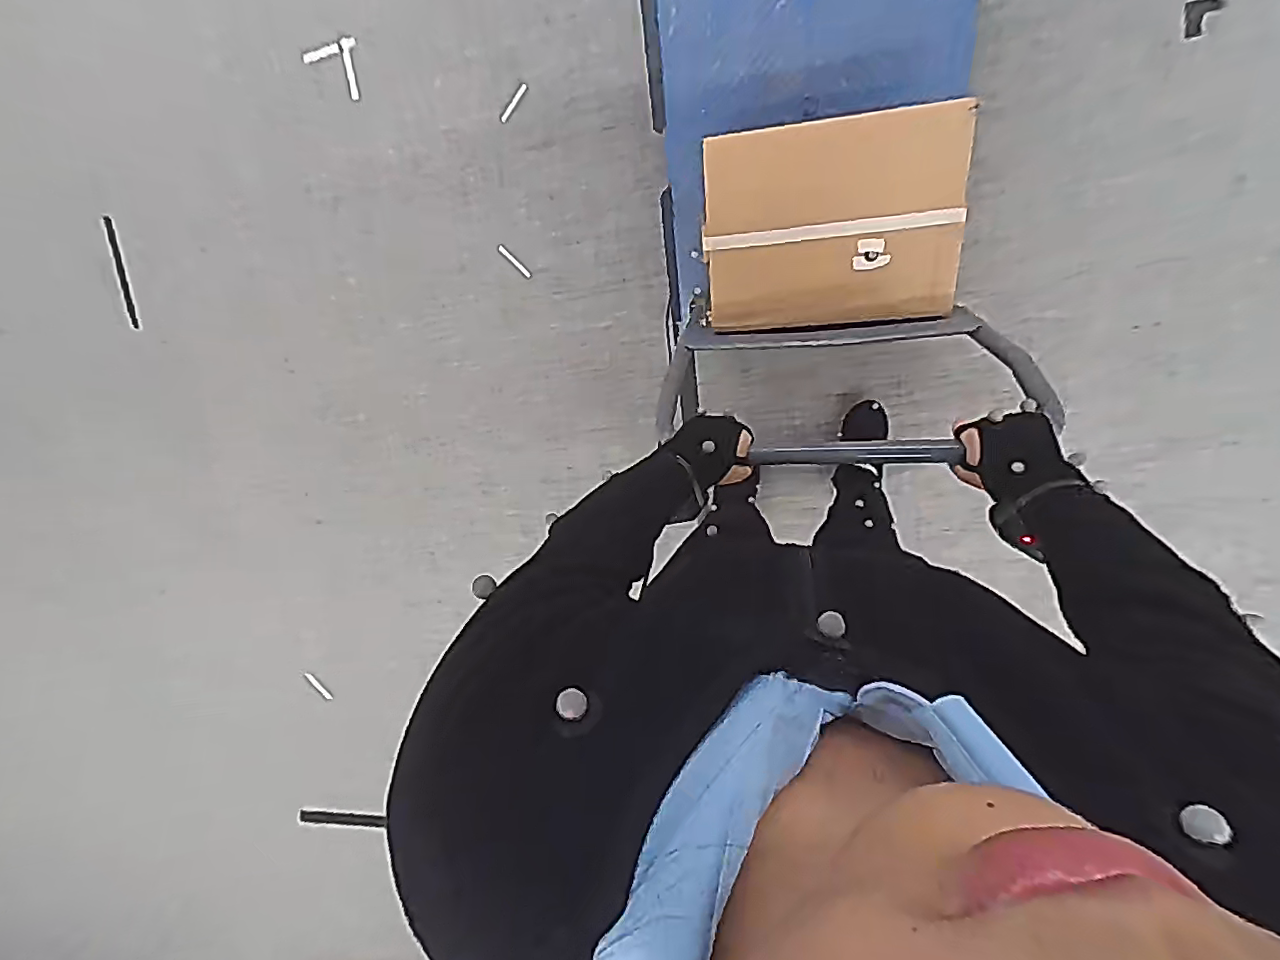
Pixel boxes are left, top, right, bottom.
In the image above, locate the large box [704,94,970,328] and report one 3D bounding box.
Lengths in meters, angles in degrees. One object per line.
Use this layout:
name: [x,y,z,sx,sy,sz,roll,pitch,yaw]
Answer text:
large box: [0.342,-0.493,1.039,0.408,0.320,0.320,-1,117,12]
